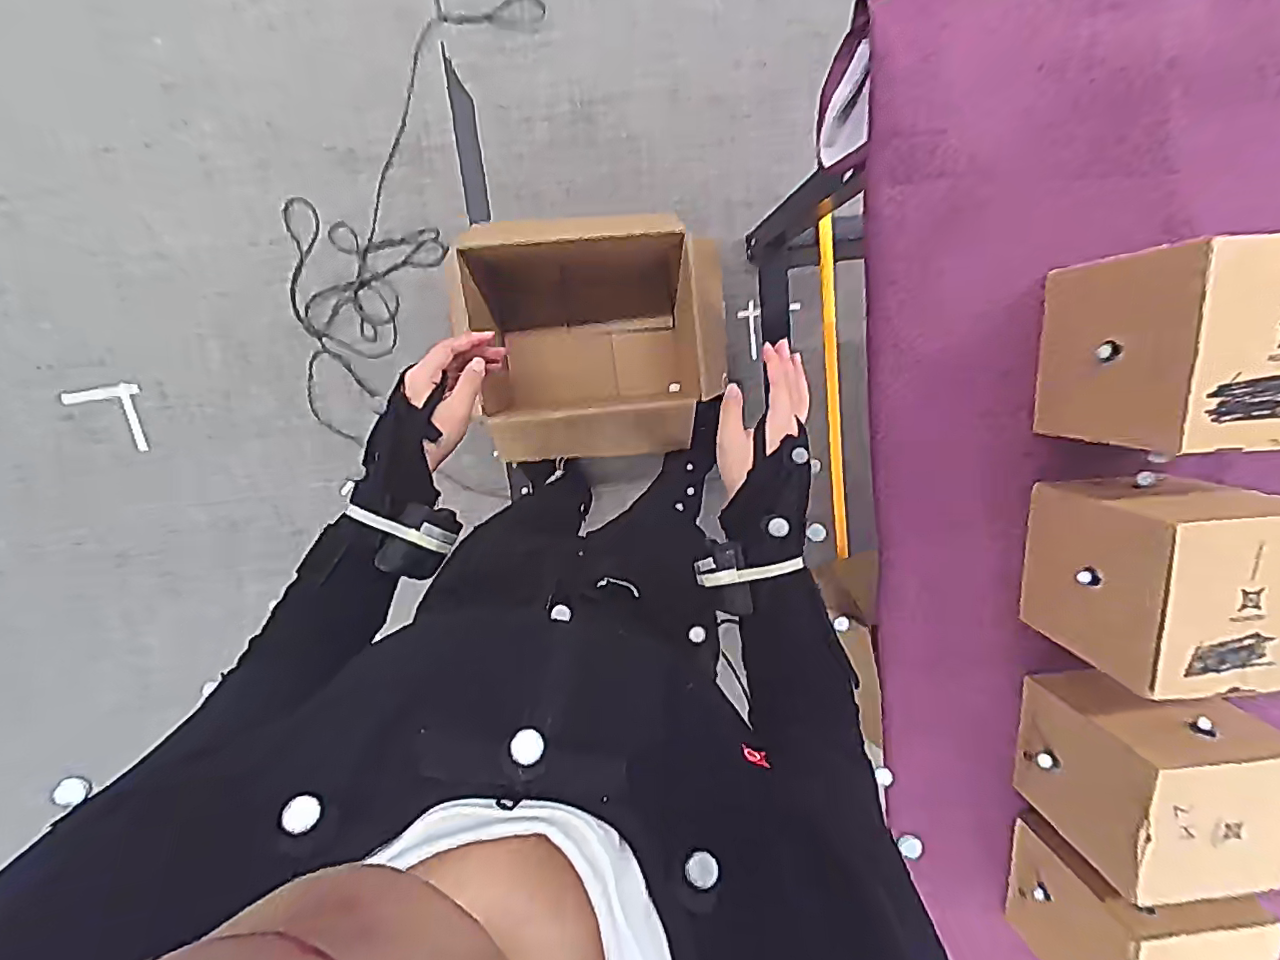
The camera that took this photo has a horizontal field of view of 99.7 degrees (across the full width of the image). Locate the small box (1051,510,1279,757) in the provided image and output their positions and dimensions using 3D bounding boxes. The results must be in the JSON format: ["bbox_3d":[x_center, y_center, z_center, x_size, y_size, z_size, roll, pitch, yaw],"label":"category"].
[{"bbox_3d":[0.559,0.156,0.568,0.168,0.176,0.179,-17,101,42],"label":"small box"}]

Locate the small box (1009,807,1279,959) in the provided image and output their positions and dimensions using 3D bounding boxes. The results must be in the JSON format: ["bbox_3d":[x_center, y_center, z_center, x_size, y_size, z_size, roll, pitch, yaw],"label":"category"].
[{"bbox_3d":[0.604,0.537,0.665,0.179,0.176,0.168,-3,102,-3],"label":"small box"}]
